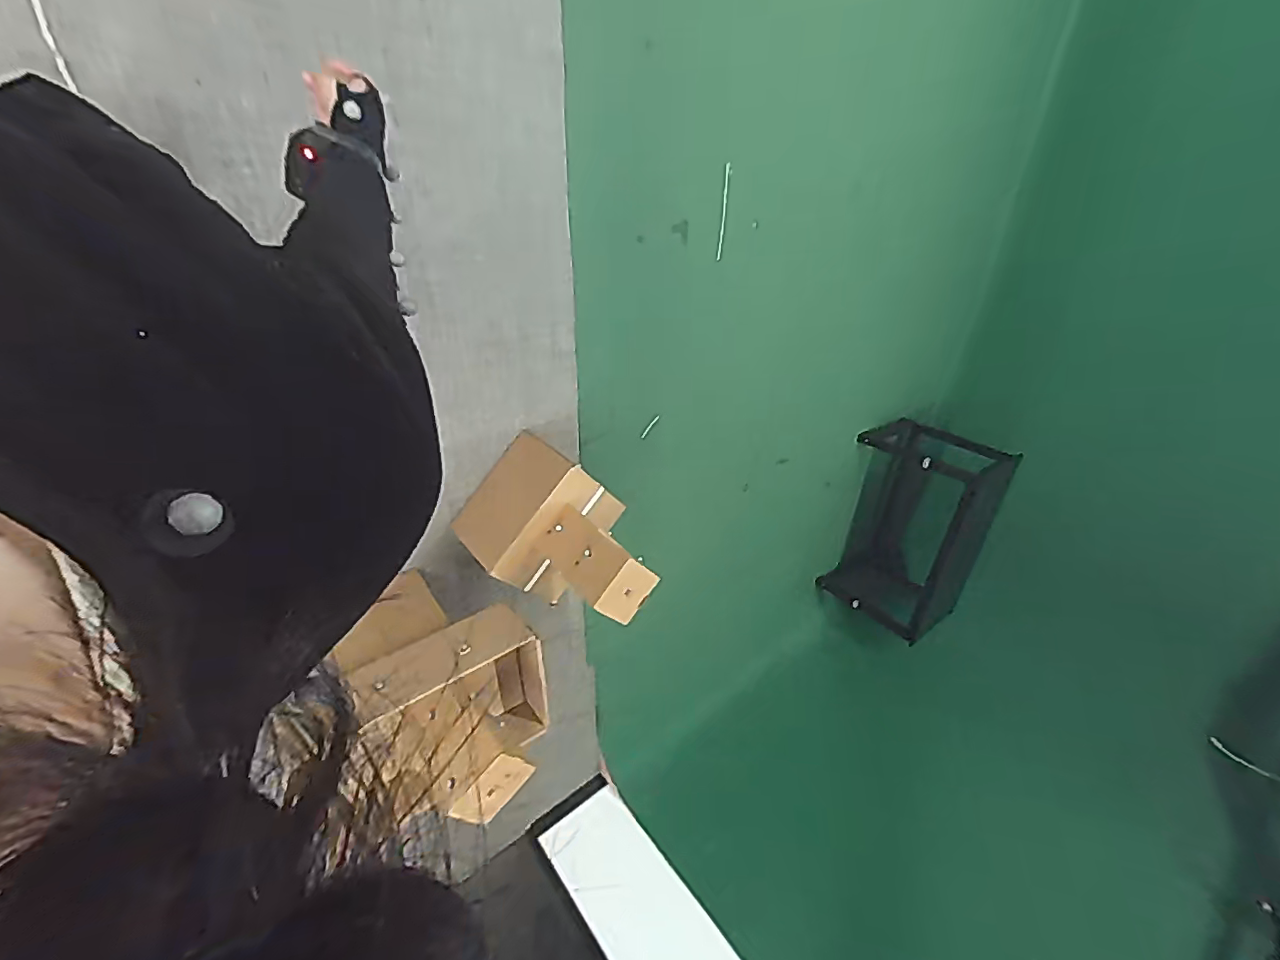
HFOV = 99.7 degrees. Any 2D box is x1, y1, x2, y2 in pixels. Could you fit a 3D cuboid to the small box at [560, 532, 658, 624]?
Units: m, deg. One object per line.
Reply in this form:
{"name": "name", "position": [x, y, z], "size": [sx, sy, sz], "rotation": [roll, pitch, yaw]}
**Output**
{"name": "small box", "position": [-0.088, 0.272, 1.517], "size": [0.168, 0.176, 0.179], "rotation": [-53, 138, -6]}

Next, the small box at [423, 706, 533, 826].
{"name": "small box", "position": [-0.401, 0.693, 1.318], "size": [0.179, 0.176, 0.168], "rotation": [-45, 138, -14]}

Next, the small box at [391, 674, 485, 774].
{"name": "small box", "position": [-0.520, 0.649, 1.426], "size": [0.179, 0.176, 0.168], "rotation": [-46, 136, -13]}

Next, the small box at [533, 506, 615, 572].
{"name": "small box", "position": [-0.186, 0.205, 1.630], "size": [0.168, 0.176, 0.179], "rotation": [-50, 138, -8]}
